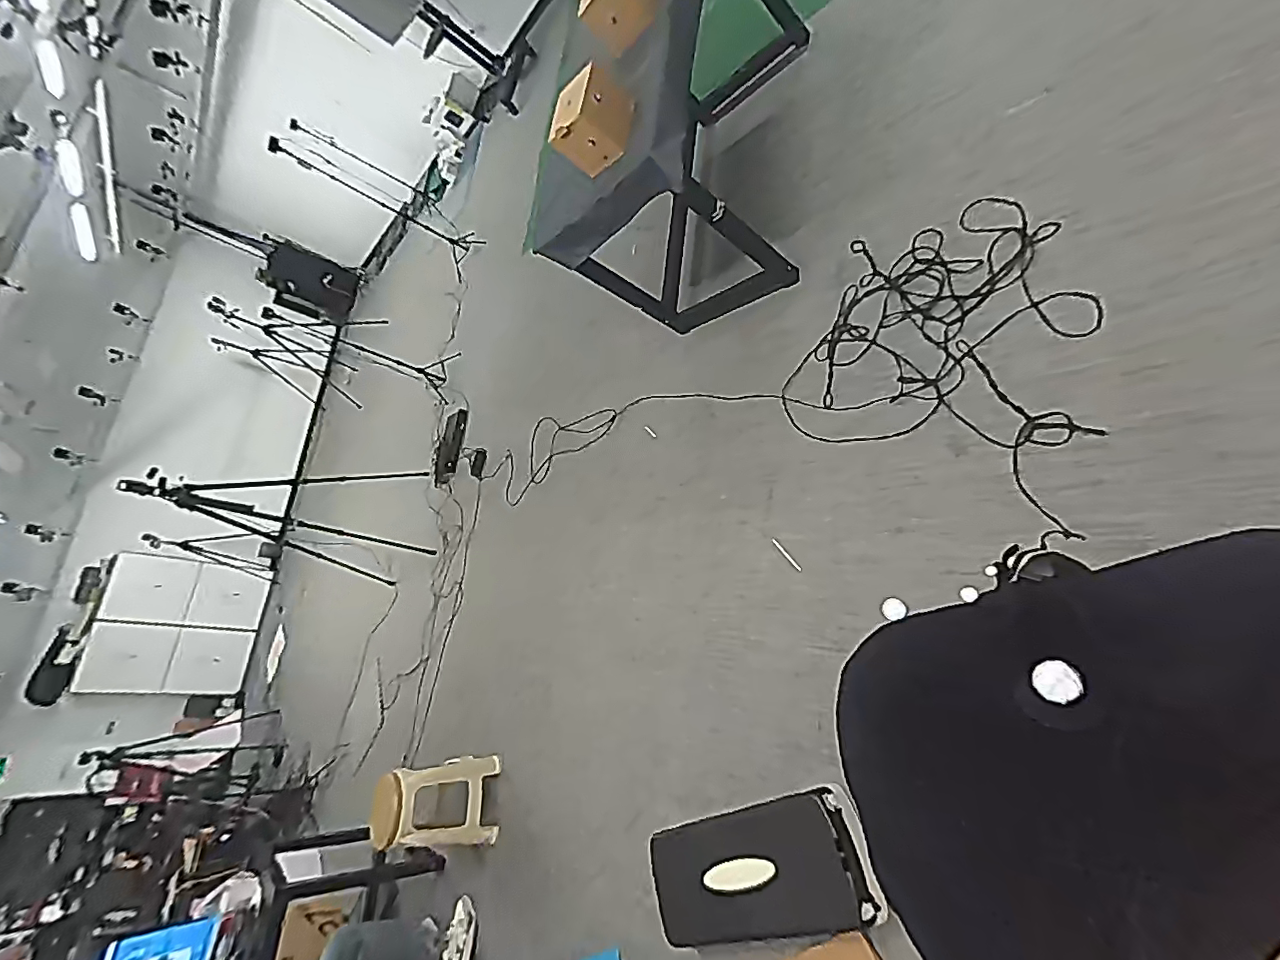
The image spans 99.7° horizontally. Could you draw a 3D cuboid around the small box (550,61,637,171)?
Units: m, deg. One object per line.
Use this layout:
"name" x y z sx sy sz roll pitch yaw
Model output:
"small box" -0.130 -1.031 1.556 0.168 0.176 0.179 0 74 49
